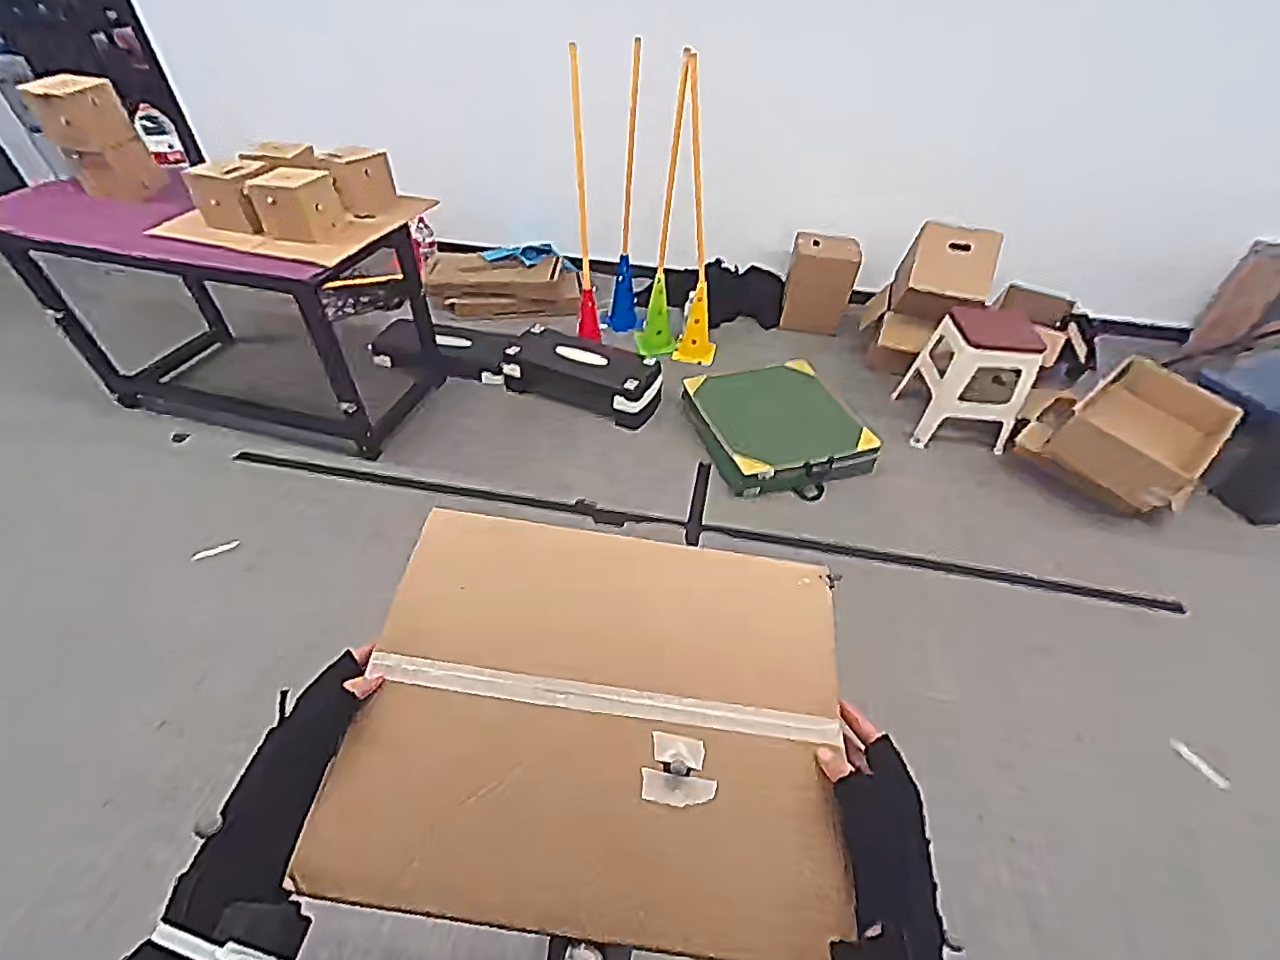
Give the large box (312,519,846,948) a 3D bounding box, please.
[{"bbox_3d":[-0.042,0.273,0.599,0.408,0.320,0.320,9,56,0],"label":"large box"}]
